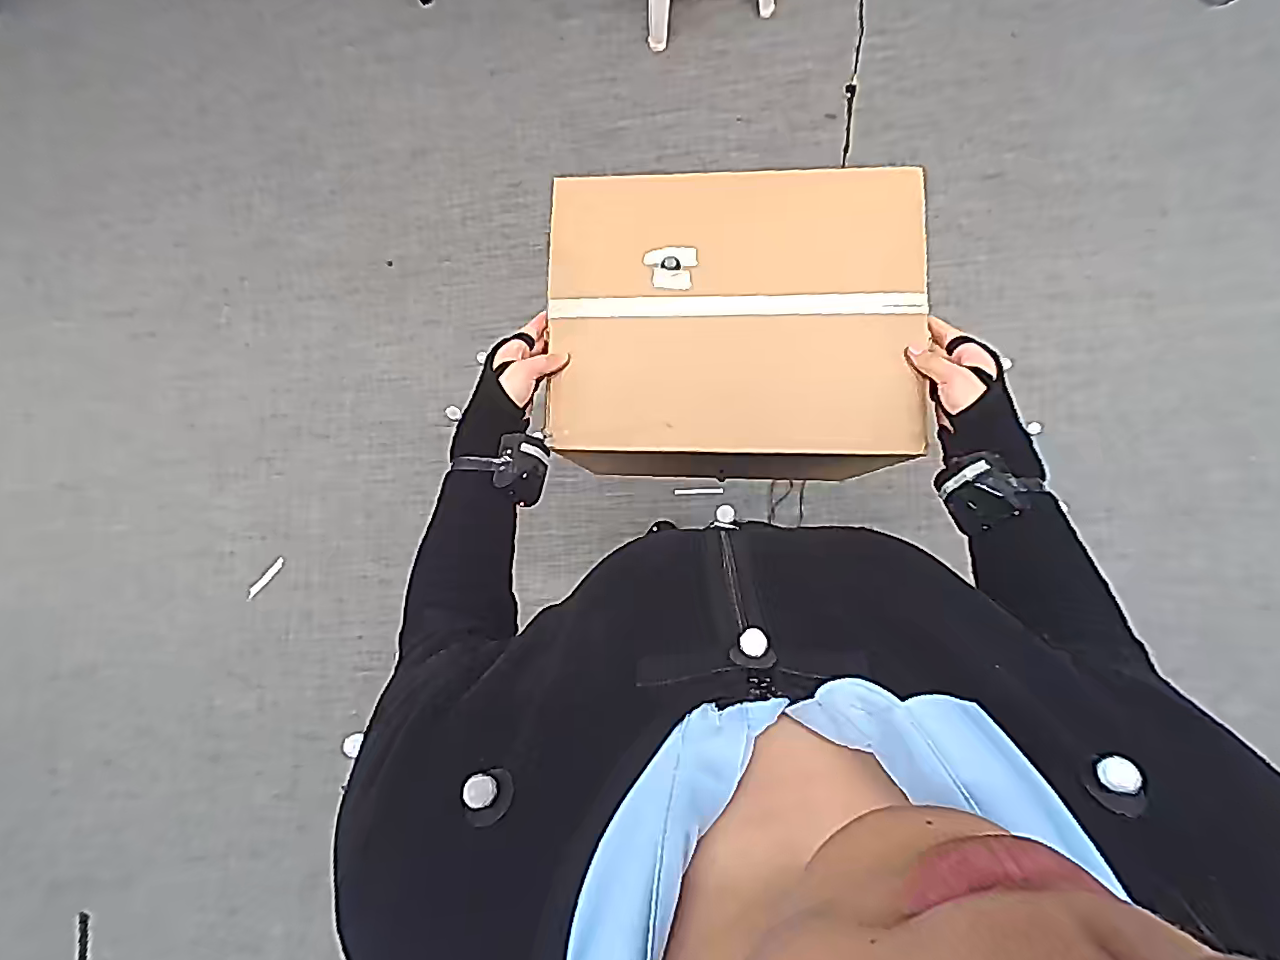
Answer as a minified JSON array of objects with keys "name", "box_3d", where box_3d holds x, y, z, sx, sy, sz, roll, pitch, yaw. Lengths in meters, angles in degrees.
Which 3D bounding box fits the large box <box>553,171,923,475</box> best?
[{"name":"large box","box_3d":[0.117,-0.172,0.745,0.408,0.320,0.320,0,84,6]}]
